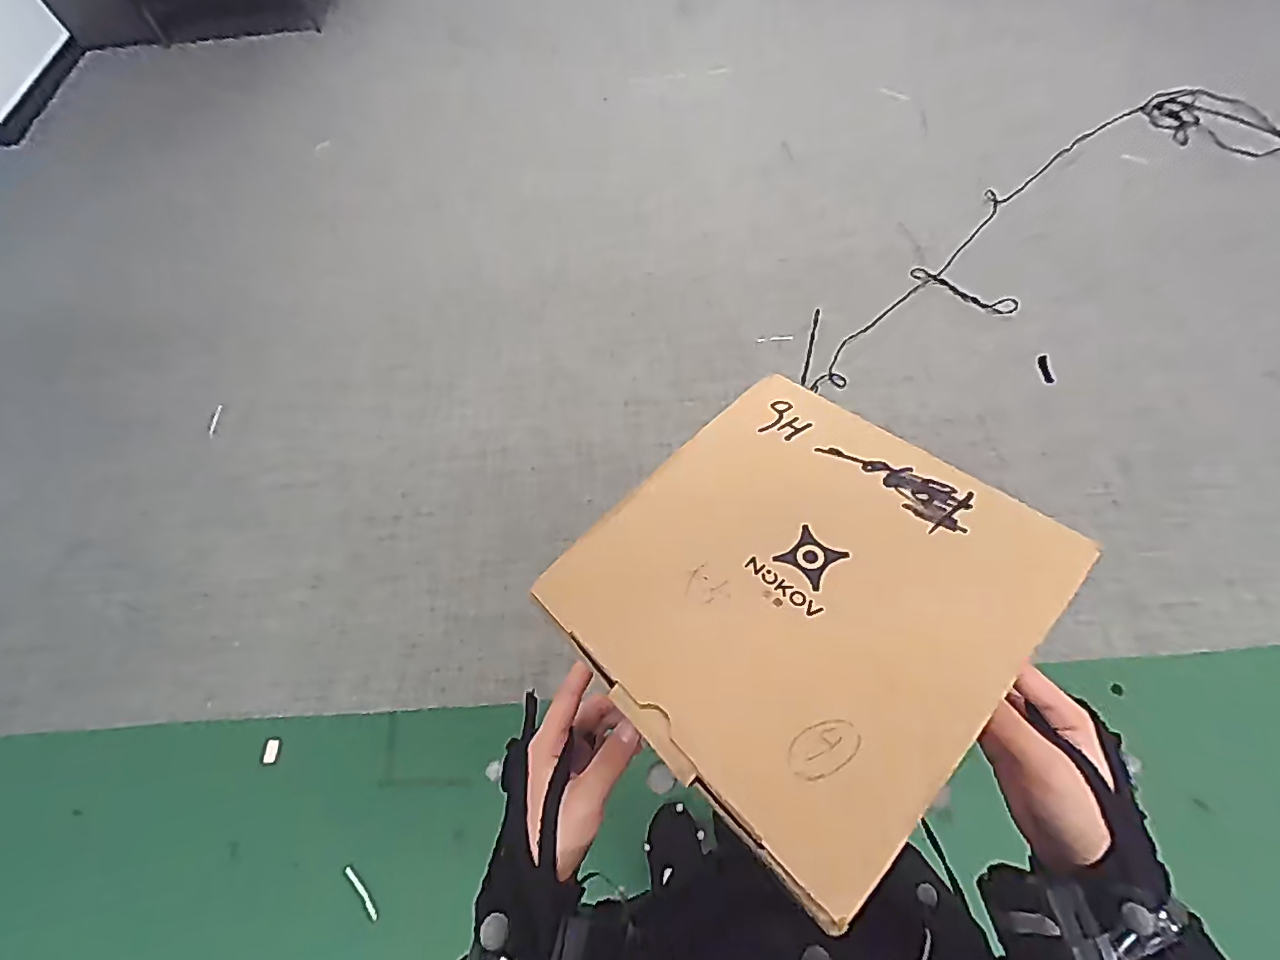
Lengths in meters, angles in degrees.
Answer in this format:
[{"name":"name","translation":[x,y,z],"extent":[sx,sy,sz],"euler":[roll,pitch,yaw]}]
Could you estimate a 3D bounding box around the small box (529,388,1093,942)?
[{"name":"small box","translation":[0.078,0.091,0.291],"extent":[0.179,0.176,0.168],"euler":[-41,57,-17]}]
